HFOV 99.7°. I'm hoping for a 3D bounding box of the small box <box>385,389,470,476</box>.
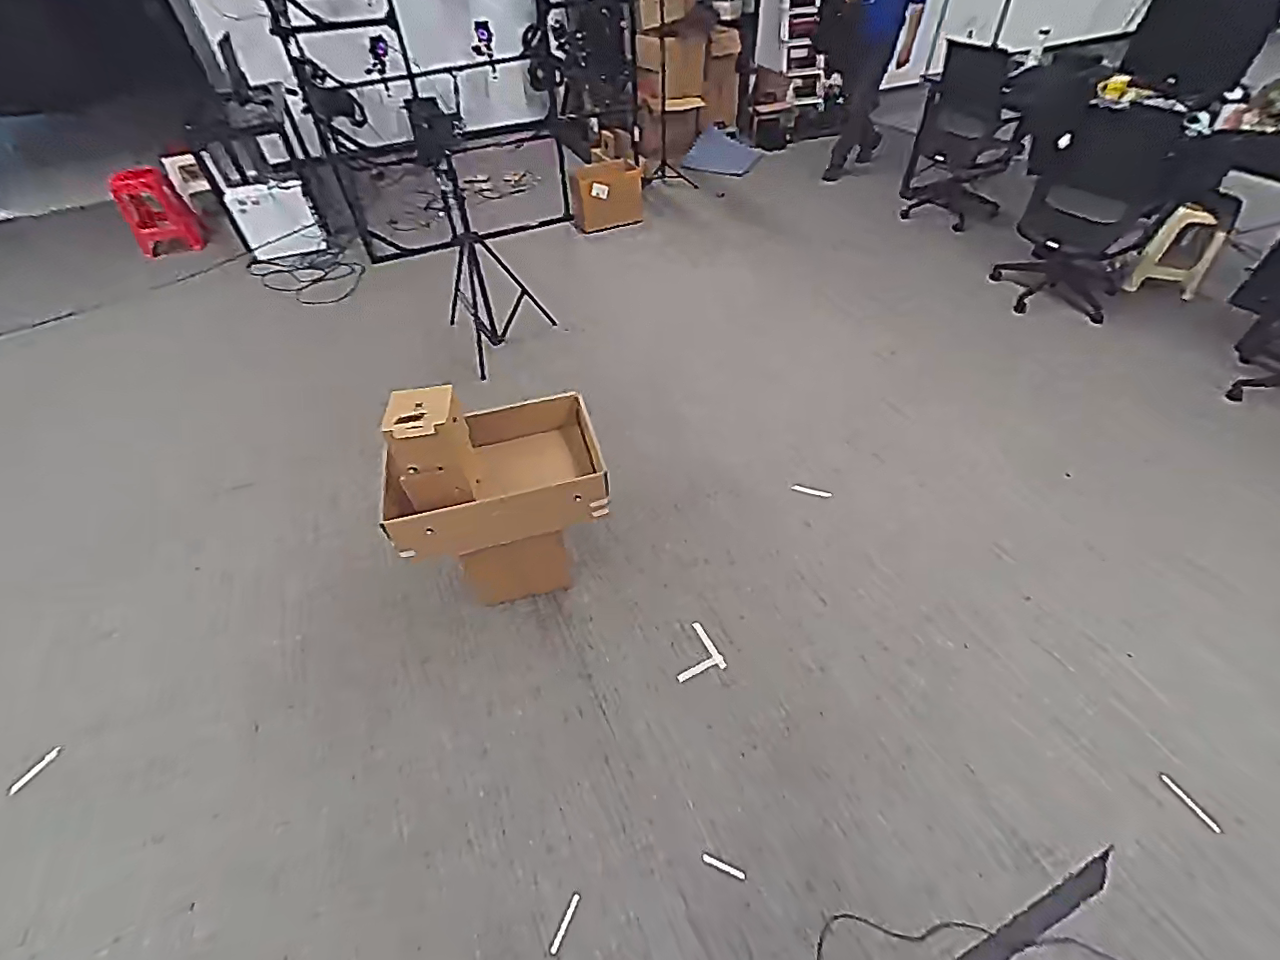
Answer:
[{"bbox_3d":[-0.572,-0.124,1.483,0.168,0.176,0.179,-8,45,-4],"label":"small box"}]
